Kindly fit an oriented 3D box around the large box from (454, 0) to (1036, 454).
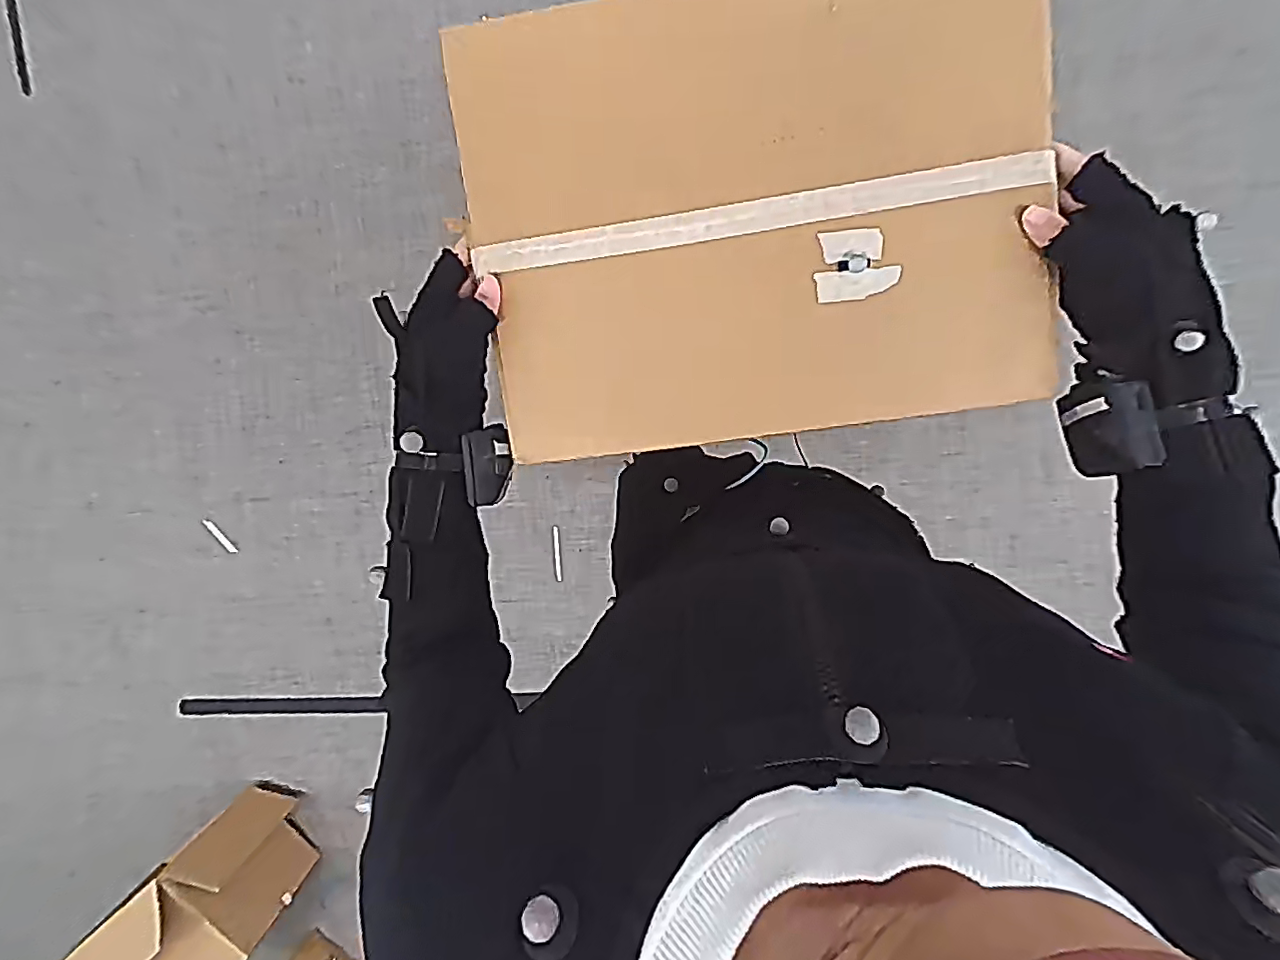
[{"bbox_3d":[0.087,-0.219,0.546,0.408,0.320,0.320,-7,99,4],"label":"large box"}]
